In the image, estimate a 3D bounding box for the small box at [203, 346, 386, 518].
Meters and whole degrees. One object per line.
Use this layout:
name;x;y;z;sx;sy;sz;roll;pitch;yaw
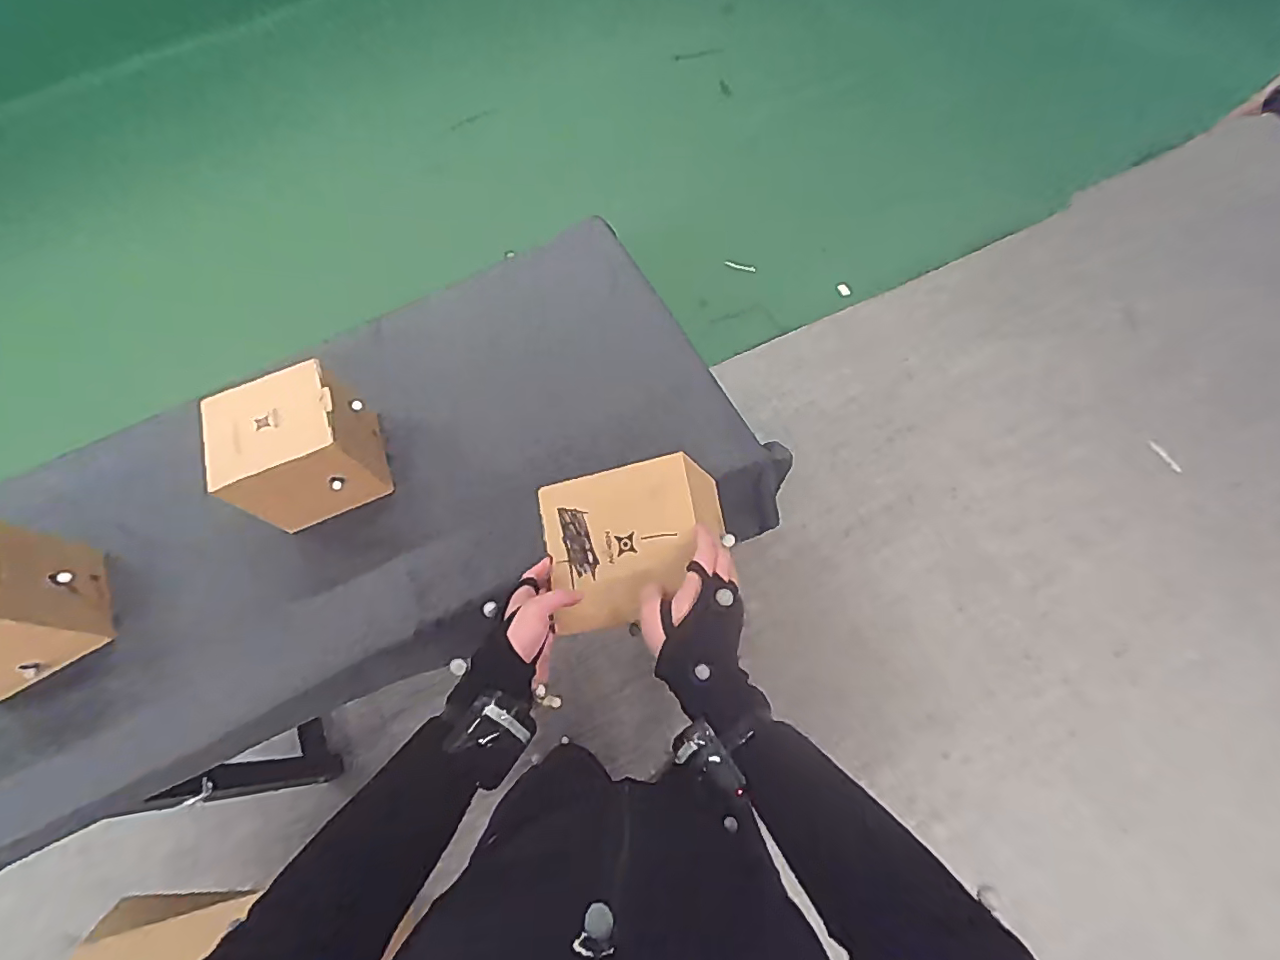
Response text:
small box;-0.514;-0.066;0.827;0.179;0.176;0.168;-23;65;-4

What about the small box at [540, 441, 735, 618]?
small box;0.003;0.068;0.642;0.179;0.176;0.168;-13;76;16

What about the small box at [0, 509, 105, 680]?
small box;-0.911;0.161;0.759;0.179;0.176;0.168;-30;67;-10
